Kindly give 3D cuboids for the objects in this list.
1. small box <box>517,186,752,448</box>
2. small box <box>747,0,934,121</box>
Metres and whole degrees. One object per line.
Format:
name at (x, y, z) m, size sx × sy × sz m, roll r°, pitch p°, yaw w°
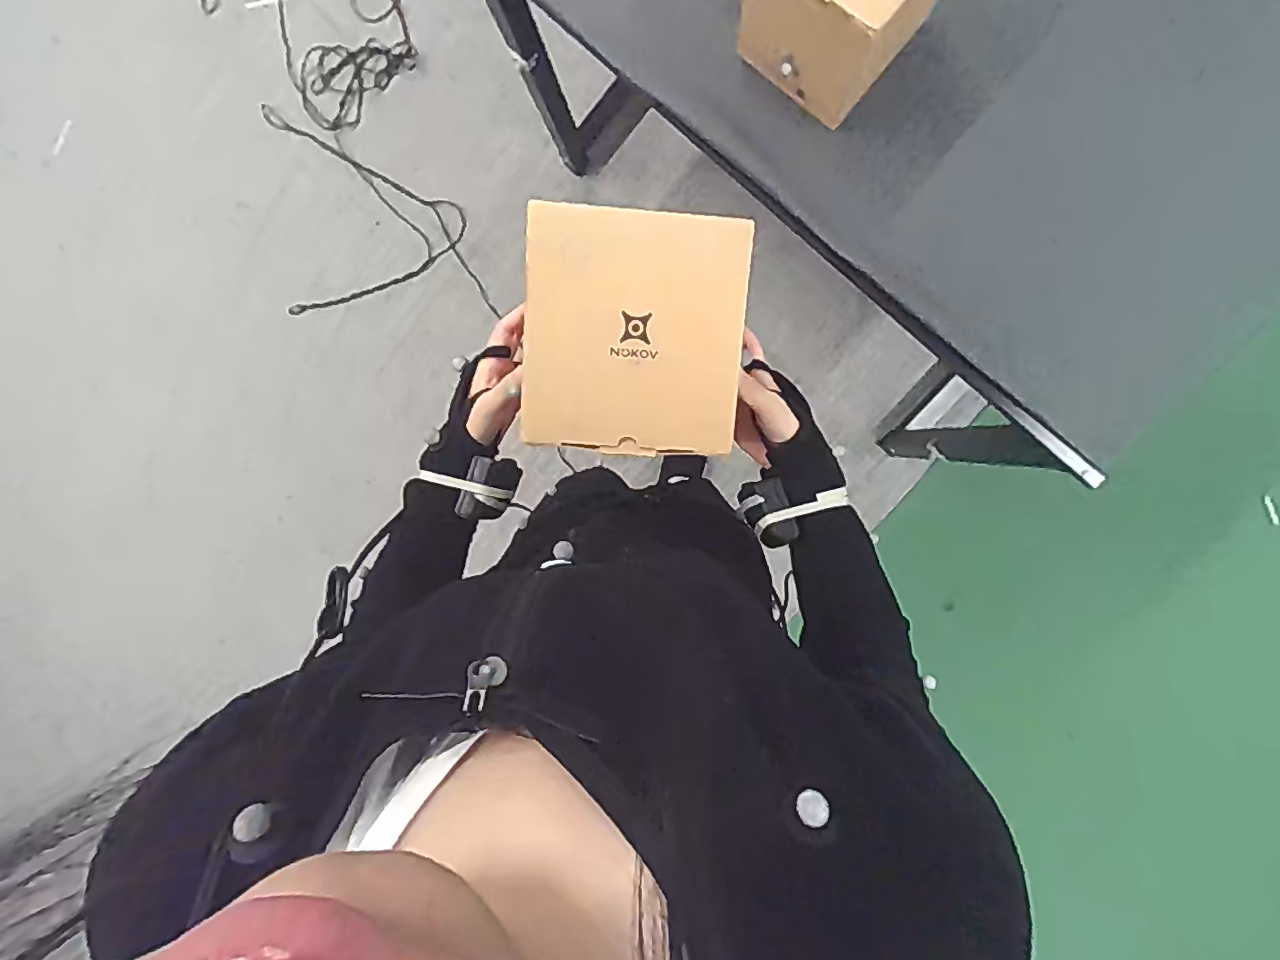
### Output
small box at (-0.012, -0.128, 0.472) m, size 0.168 × 0.176 × 0.179 m, roll 3°, pitch 101°, yaw -5°
small box at (0.236, -0.564, 0.603) m, size 0.168 × 0.176 × 0.179 m, roll 41°, pitch 96°, yaw 2°
